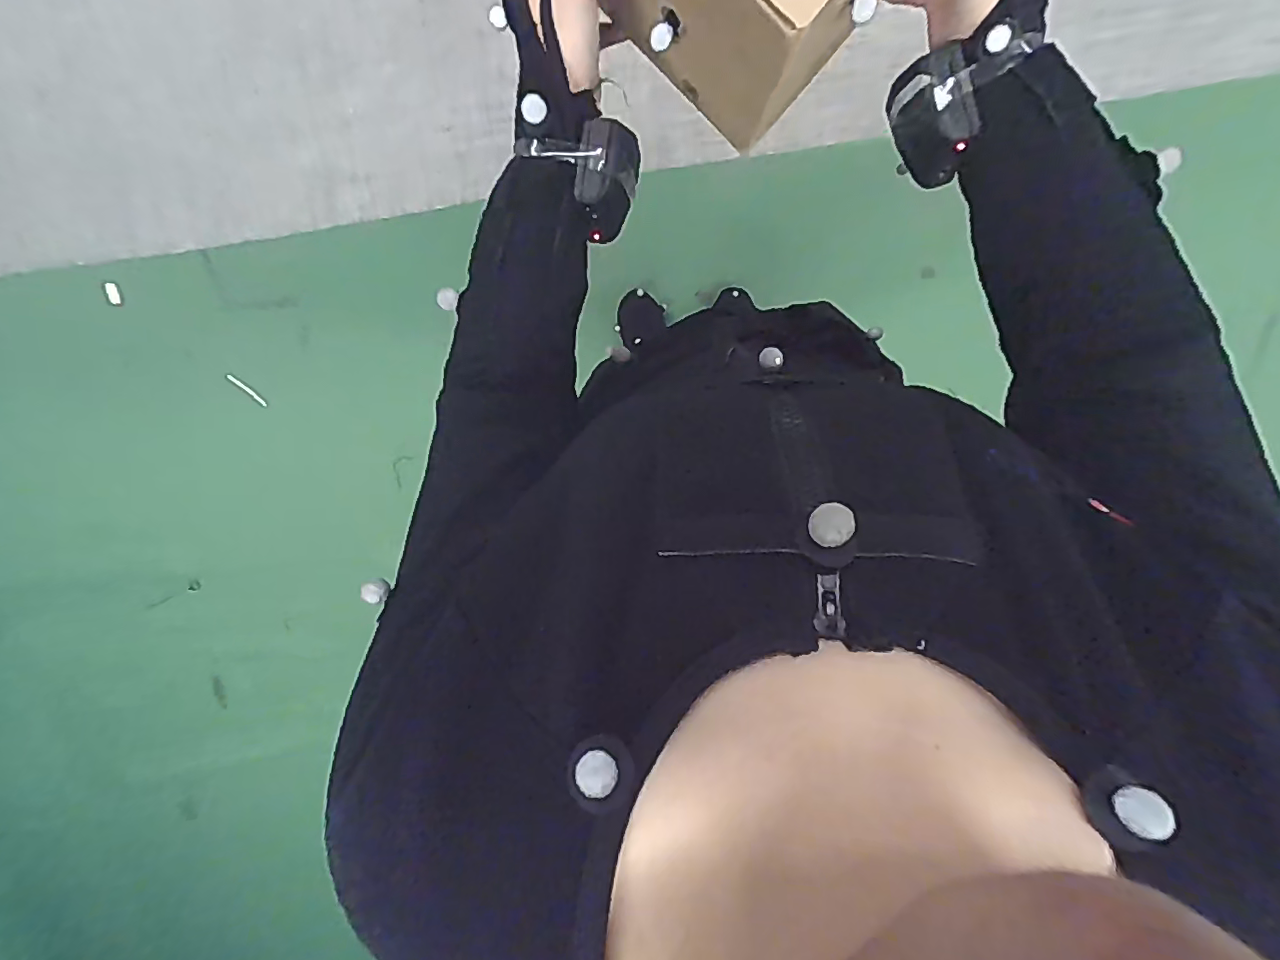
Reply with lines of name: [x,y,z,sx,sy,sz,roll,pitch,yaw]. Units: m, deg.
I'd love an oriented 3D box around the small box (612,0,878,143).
small box: [0.078,-0.356,0.332,0.168,0.176,0.179,41,103,-7]
